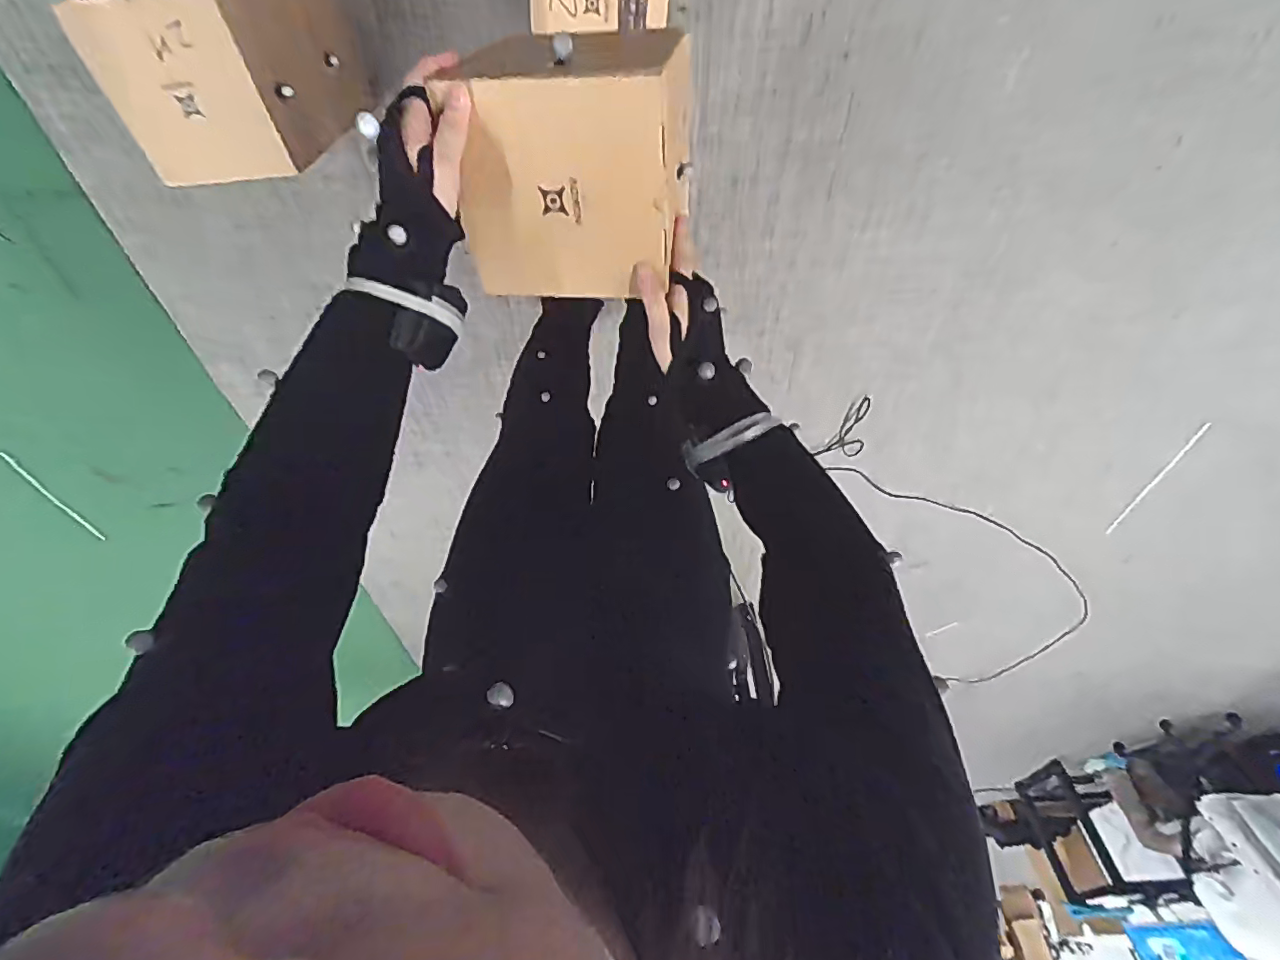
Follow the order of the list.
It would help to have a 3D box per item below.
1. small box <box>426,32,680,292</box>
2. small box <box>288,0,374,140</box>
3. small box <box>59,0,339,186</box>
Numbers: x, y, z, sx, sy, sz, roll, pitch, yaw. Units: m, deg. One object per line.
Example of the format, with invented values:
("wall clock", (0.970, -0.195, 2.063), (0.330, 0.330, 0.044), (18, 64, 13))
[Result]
("small box", (-0.060, -0.293, 0.498), (0.179, 0.176, 0.168), (4, 138, 7))
("small box", (-0.510, -0.606, 0.772), (0.168, 0.176, 0.179), (-3, 136, 0))
("small box", (-0.506, -0.486, 0.661), (0.168, 0.176, 0.179), (-4, 136, 0))
